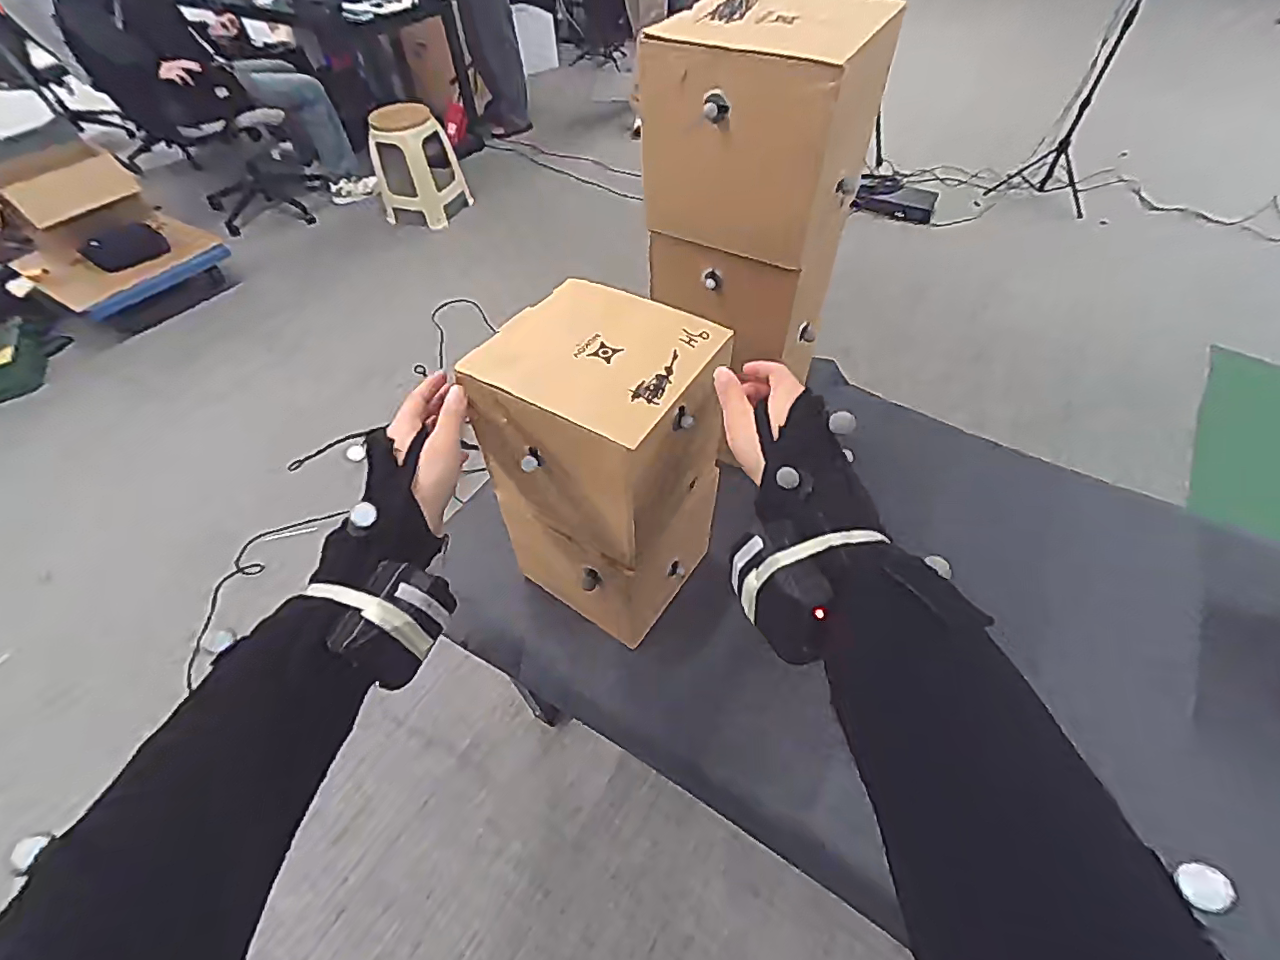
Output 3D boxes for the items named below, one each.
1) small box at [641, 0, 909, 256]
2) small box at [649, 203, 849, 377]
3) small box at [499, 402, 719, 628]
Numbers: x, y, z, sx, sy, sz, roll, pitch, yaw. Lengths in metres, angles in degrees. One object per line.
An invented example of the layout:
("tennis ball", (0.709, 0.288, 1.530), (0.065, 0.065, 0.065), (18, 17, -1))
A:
("small box", (0.117, -0.342, 0.515), (0.179, 0.176, 0.168), (26, 60, 19))
("small box", (0.125, -0.252, 0.653), (0.179, 0.176, 0.168), (24, 60, 17))
("small box", (-0.030, 0.047, 0.631), (0.179, 0.176, 0.168), (29, 56, 22))
